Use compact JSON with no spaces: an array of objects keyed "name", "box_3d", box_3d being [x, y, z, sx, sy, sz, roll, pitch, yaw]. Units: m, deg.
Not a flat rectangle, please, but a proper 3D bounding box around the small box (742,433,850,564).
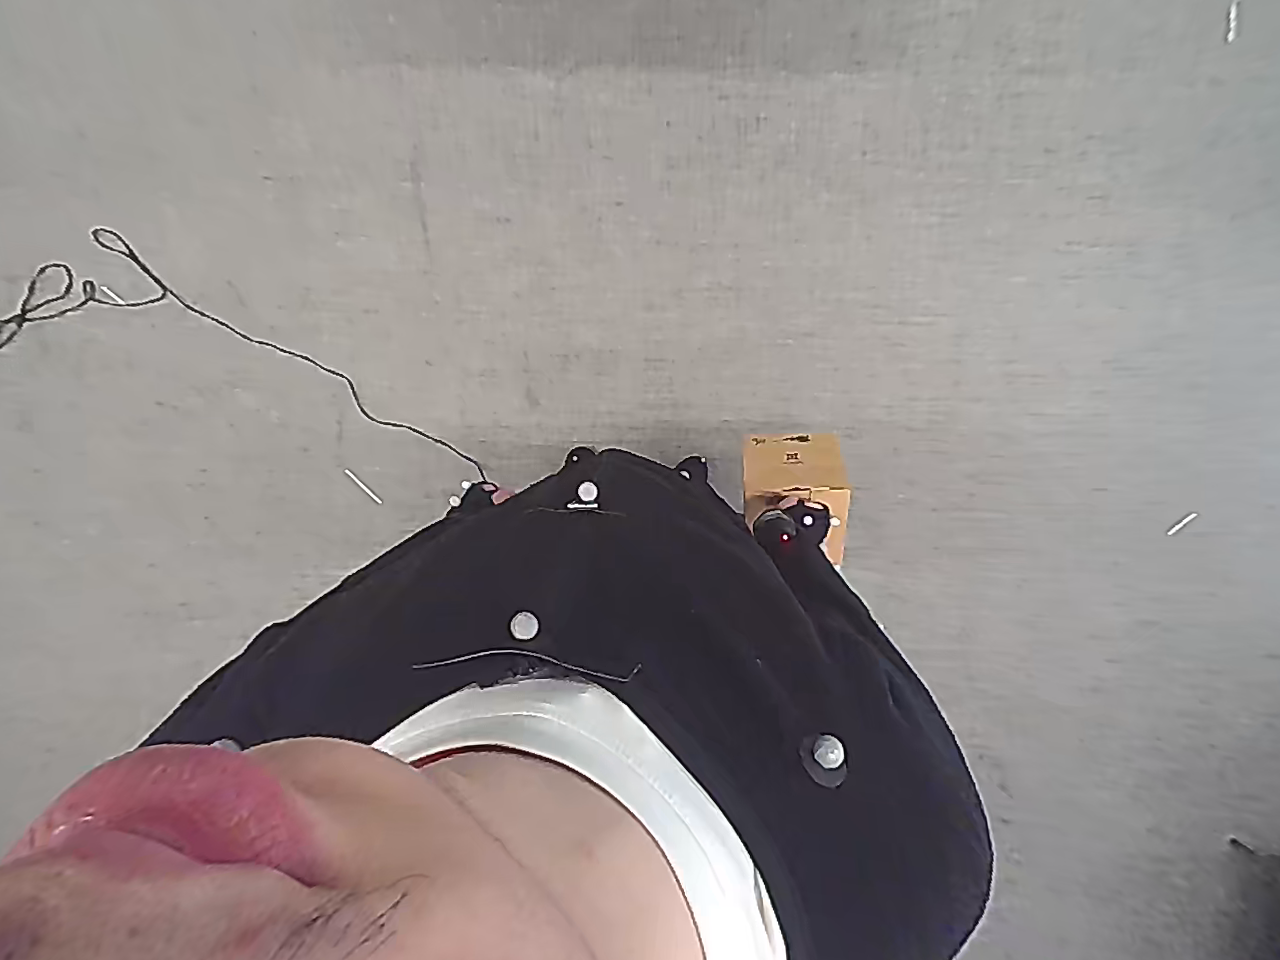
[{"name":"small box","box_3d":[0.276,0.039,0.973,0.168,0.179,0.176,-5,125,10]}]
